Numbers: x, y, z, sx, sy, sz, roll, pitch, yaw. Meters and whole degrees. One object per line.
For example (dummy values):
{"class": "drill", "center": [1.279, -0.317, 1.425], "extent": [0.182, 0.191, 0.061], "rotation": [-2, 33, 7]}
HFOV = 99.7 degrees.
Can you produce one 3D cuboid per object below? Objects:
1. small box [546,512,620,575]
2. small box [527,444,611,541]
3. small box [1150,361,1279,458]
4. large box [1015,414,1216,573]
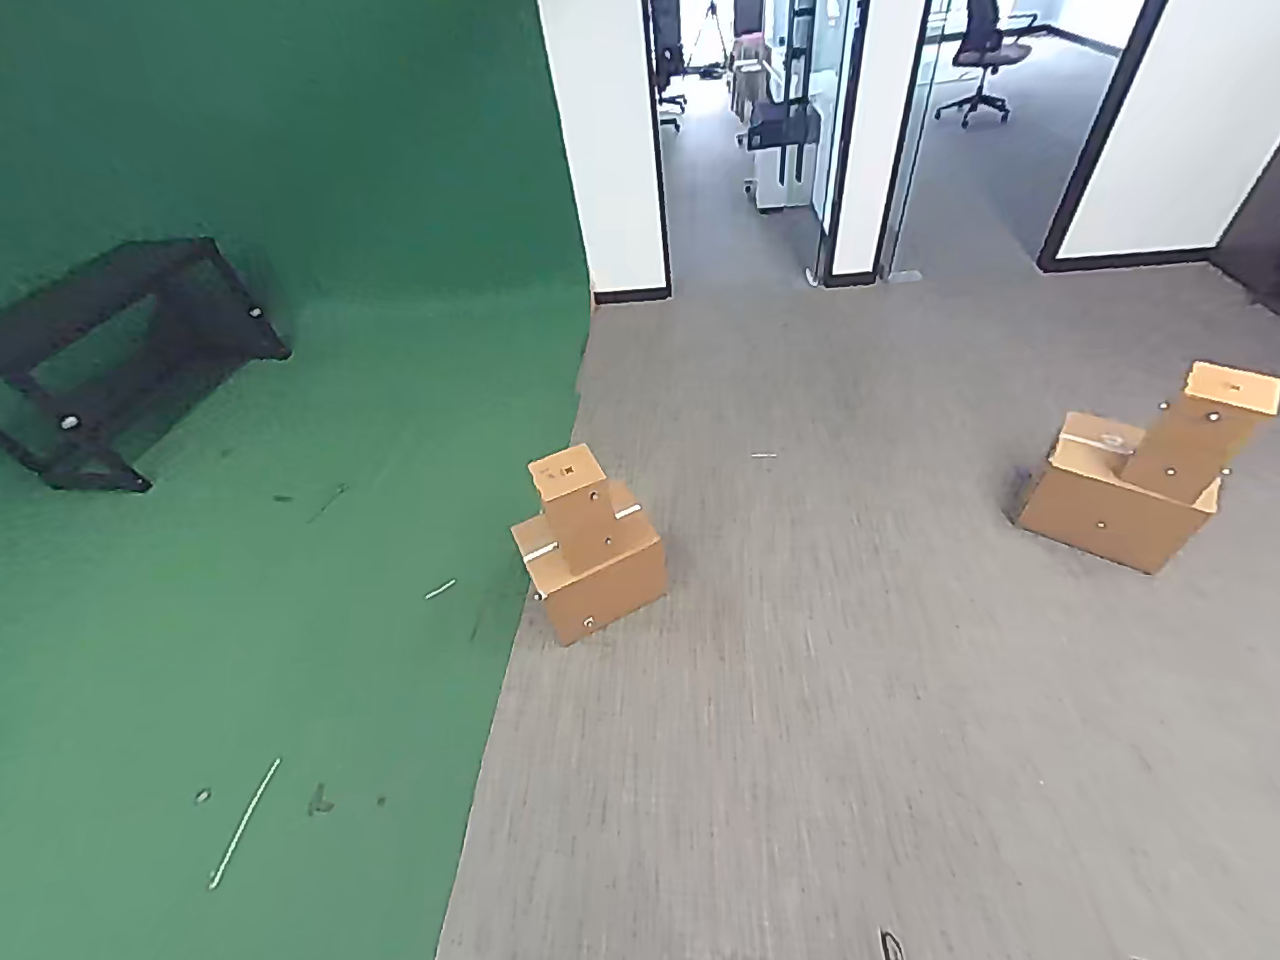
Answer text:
{"class": "small box", "center": [-0.170, 0.150, 1.607], "extent": [0.179, 0.176, 0.168], "rotation": [-24, 48, -14]}
{"class": "small box", "center": [-0.189, 0.037, 1.489], "extent": [0.179, 0.176, 0.168], "rotation": [-22, 46, -13]}
{"class": "small box", "center": [1.517, -0.182, 1.431], "extent": [0.179, 0.176, 0.168], "rotation": [27, 57, 32]}
{"class": "large box", "center": [1.547, 0.039, 1.784], "extent": [0.408, 0.320, 0.320], "rotation": [24, 53, 29]}
